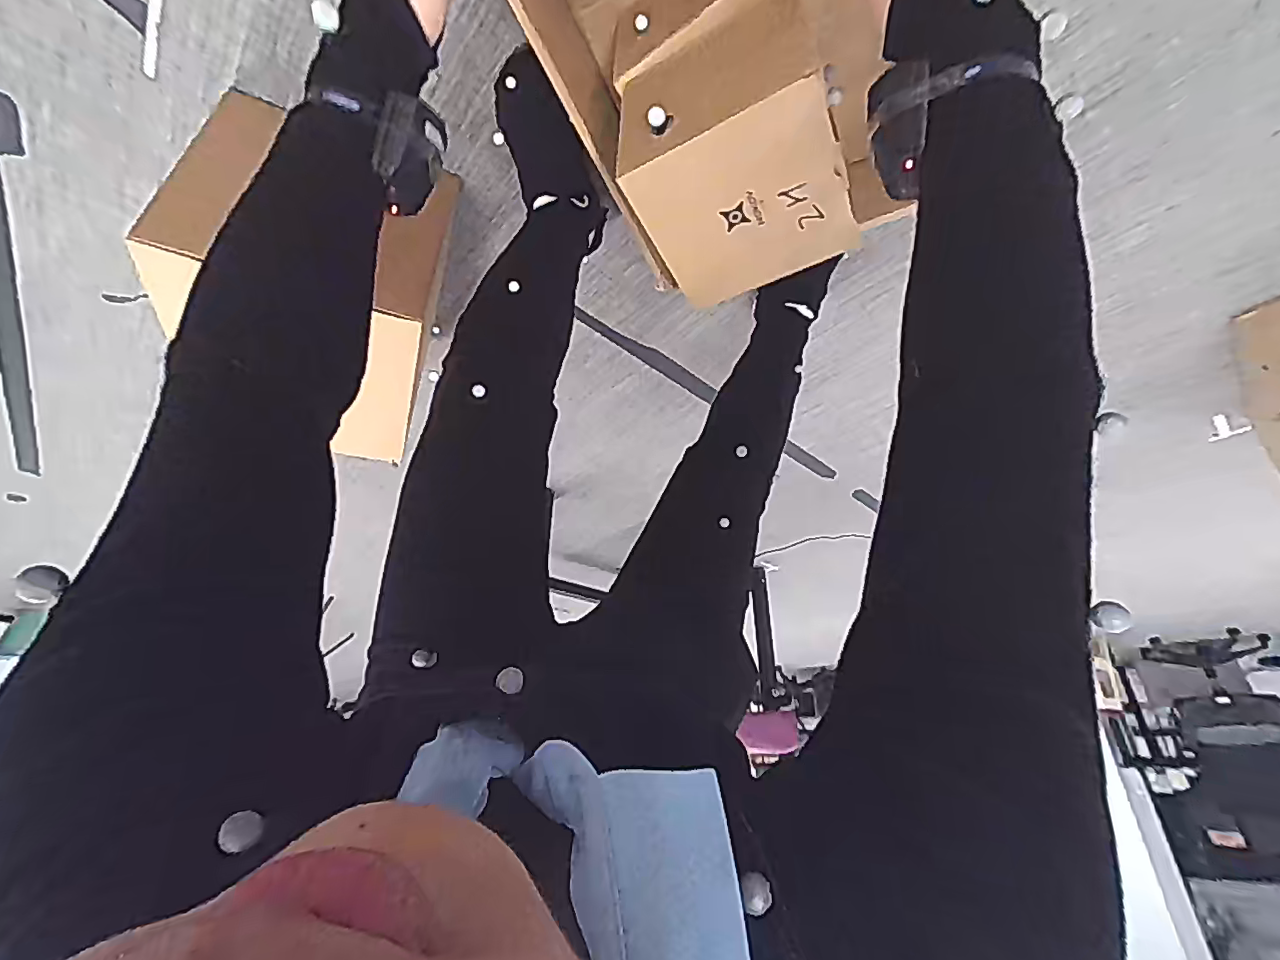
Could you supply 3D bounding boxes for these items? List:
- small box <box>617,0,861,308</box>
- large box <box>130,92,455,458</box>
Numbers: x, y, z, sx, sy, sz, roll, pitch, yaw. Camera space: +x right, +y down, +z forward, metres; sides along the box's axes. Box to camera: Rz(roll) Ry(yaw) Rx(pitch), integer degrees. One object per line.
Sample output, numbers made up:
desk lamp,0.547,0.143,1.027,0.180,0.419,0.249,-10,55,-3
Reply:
small box,0.096,-0.308,0.521,0.179,0.176,0.168,-15,145,25
large box,-0.496,-0.286,0.868,0.320,0.320,0.408,13,150,-21
